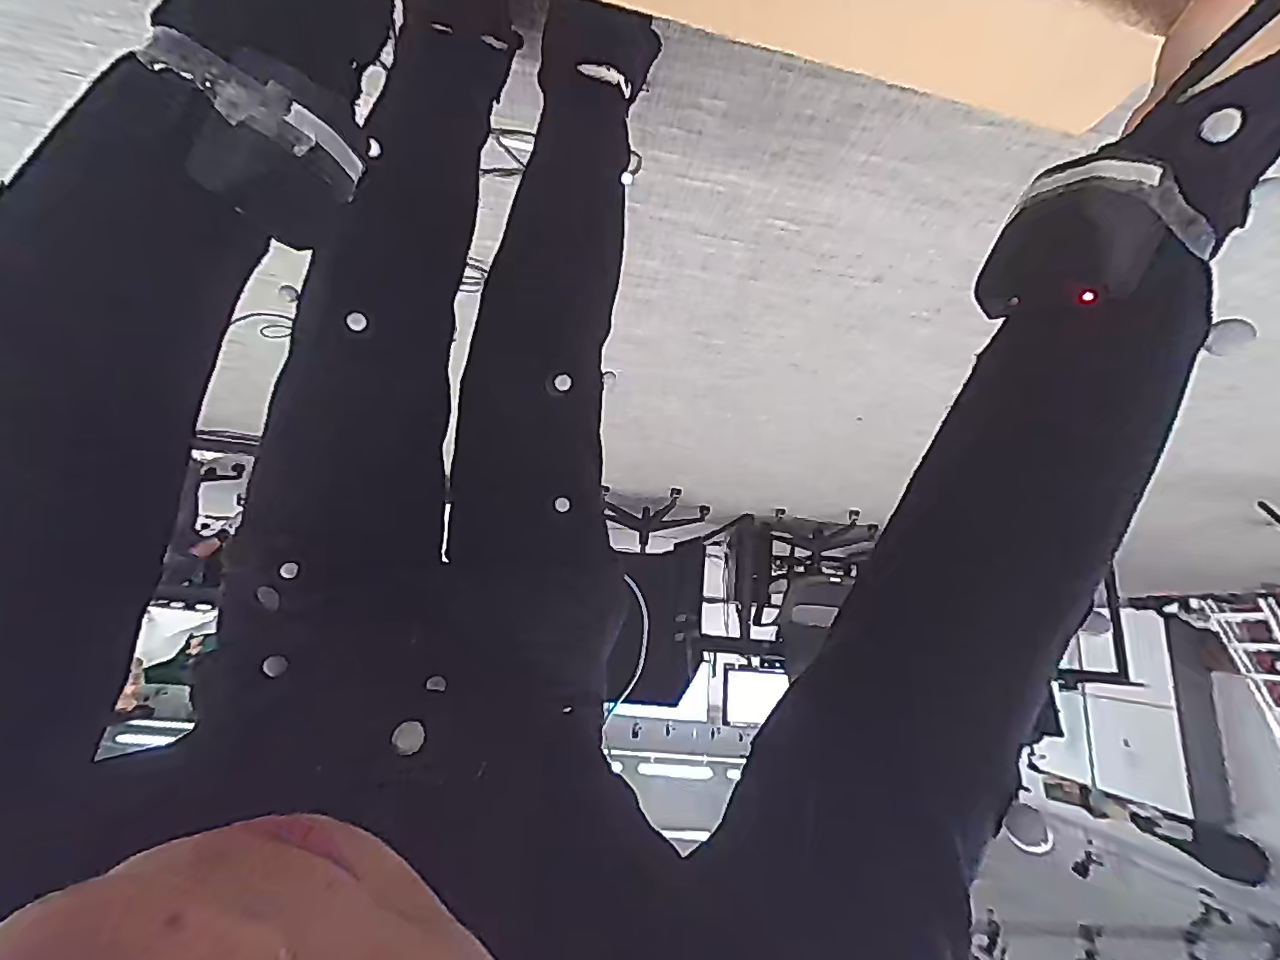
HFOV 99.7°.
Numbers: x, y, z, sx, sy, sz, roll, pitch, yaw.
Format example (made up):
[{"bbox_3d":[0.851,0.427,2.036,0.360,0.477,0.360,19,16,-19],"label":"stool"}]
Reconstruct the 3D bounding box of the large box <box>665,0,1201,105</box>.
[{"bbox_3d":[0.134,-0.449,0.221,0.408,0.320,0.320,7,165,-10],"label":"large box"}]
